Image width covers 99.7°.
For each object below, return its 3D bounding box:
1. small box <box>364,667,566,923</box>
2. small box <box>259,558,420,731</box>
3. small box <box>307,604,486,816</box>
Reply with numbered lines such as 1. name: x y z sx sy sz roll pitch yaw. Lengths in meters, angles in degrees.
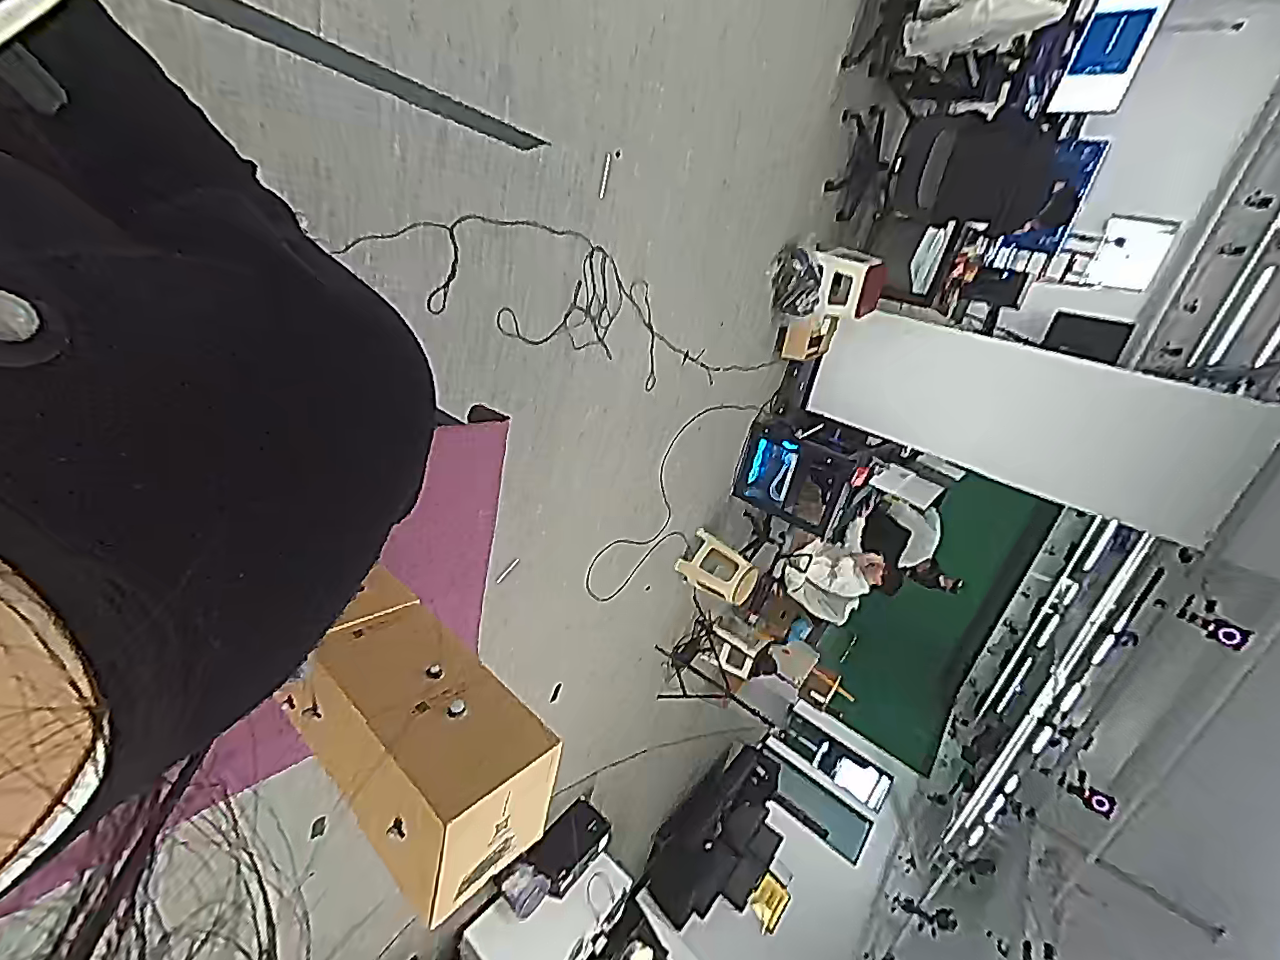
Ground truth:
1. small box: -0.222 0.372 0.672 0.168 0.176 0.179 -13 124 -52
2. small box: -0.469 0.239 0.843 0.168 0.176 0.179 -14 124 -52
3. small box: -0.345 0.309 0.761 0.168 0.176 0.179 -15 126 -51
